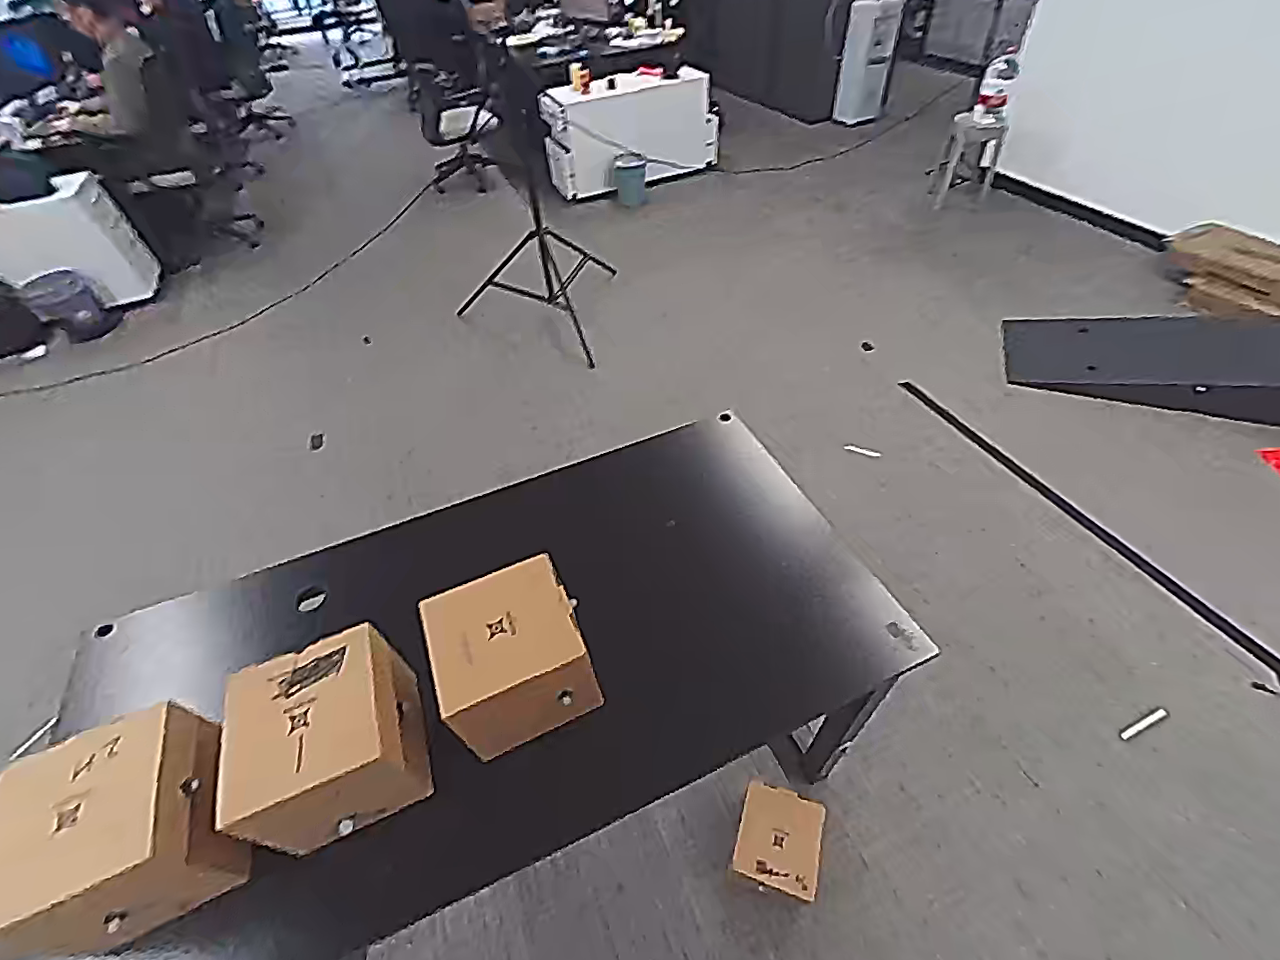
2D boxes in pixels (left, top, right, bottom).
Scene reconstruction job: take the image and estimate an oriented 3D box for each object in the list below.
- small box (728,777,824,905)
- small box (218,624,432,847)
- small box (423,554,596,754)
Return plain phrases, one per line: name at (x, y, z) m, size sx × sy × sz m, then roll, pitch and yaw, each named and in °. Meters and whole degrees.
small box at (0.291, 0.787, 1.177) m, size 0.168 × 0.176 × 0.179 m, roll 13°, pitch 51°, yaw 16°
small box at (-0.377, 0.317, 0.672) m, size 0.168 × 0.176 × 0.179 m, roll -20°, pitch 50°, yaw -13°
small box at (-0.168, 0.236, 0.731) m, size 0.179 × 0.176 × 0.168 m, roll -21°, pitch 49°, yaw -13°
